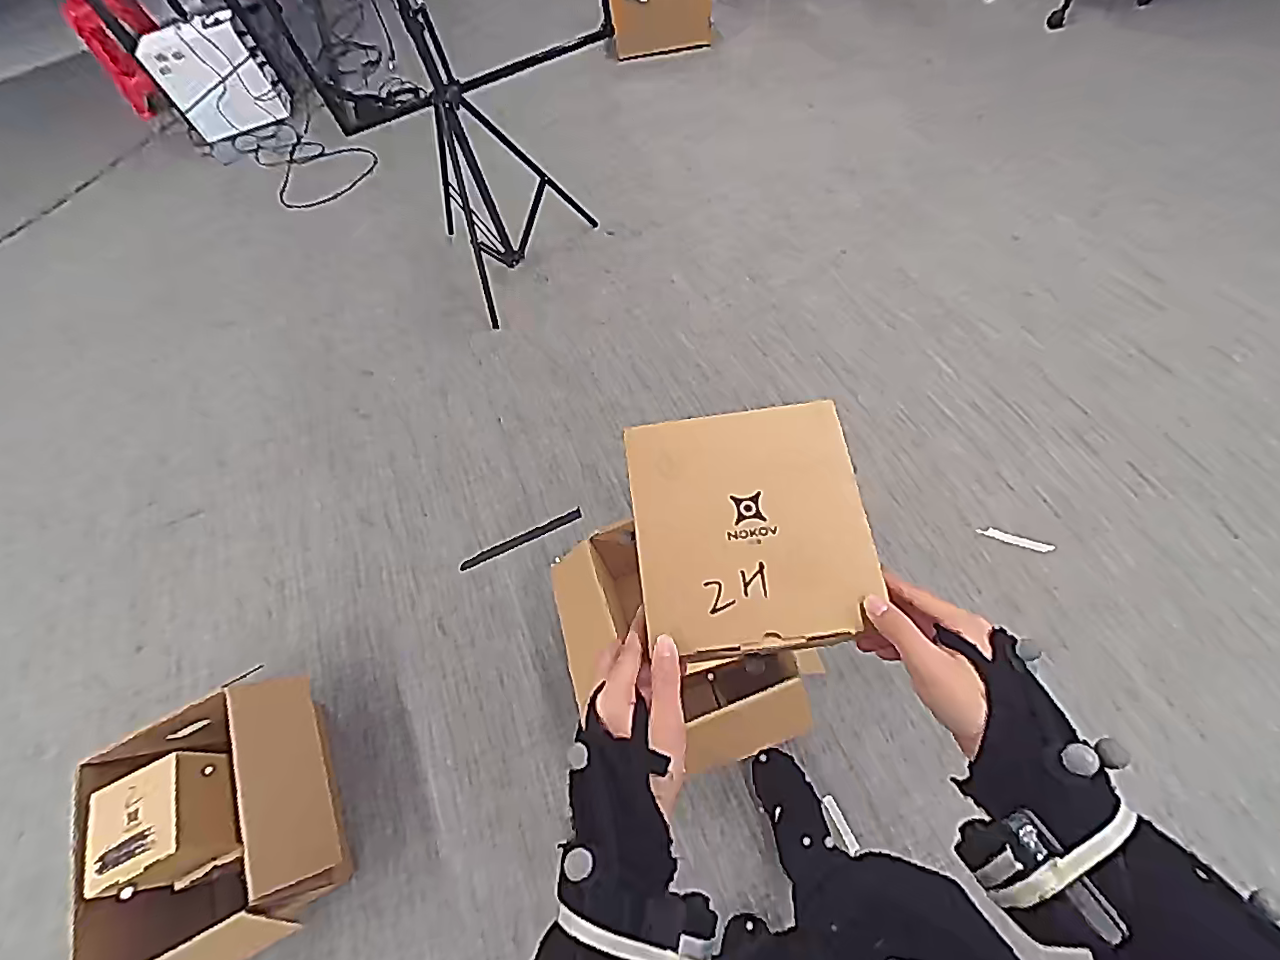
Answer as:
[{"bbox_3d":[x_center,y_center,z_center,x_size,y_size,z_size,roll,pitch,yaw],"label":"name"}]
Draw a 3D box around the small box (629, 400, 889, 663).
[{"bbox_3d":[0.084,0.055,0.470,0.168,0.176,0.179,-8,69,2],"label":"small box"}]
